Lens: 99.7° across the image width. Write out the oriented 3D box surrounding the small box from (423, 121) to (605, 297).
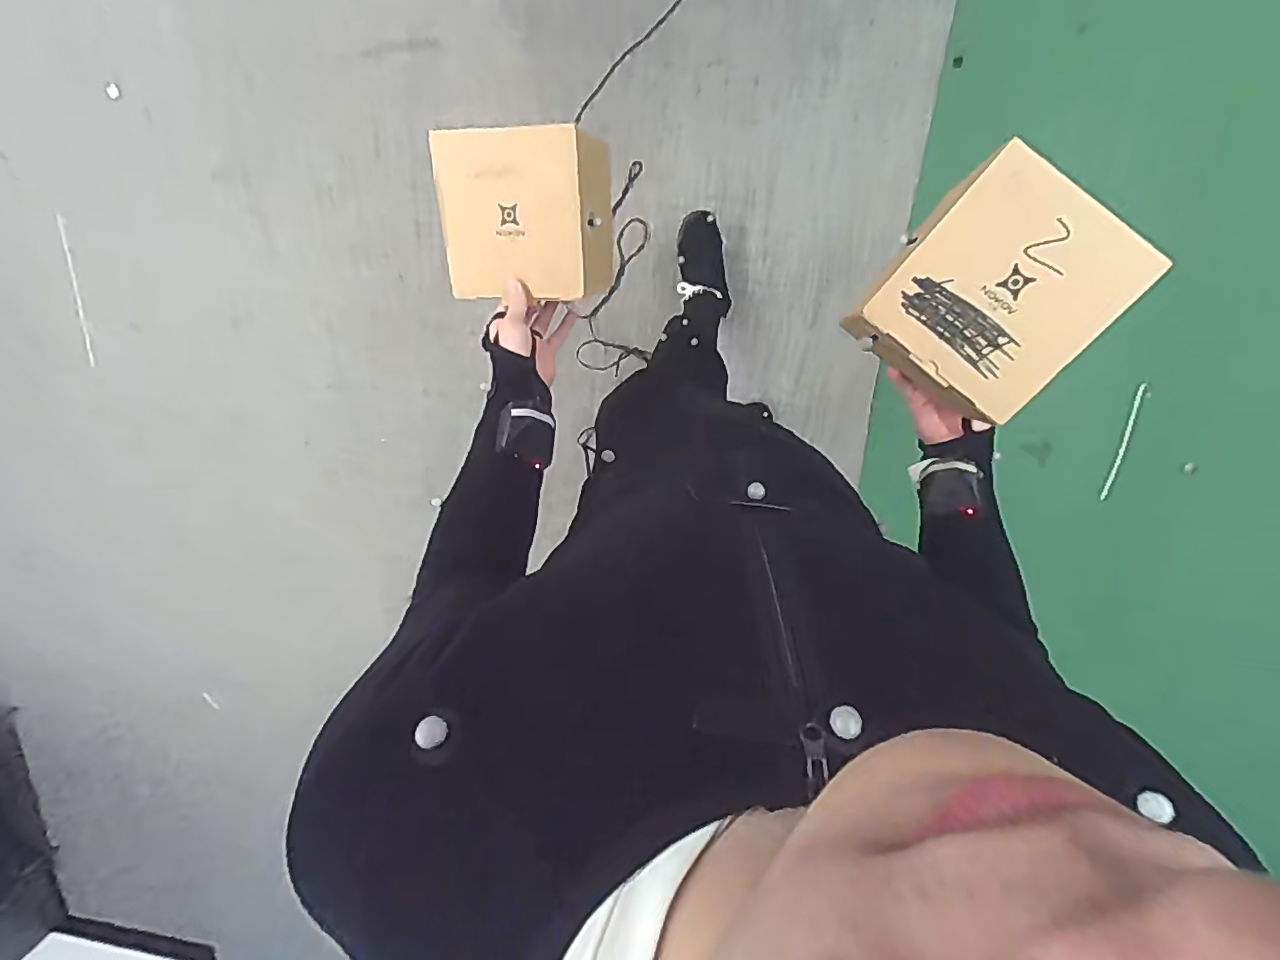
[{"bbox_3d":[-0.140,-0.332,0.674,0.168,0.176,0.179,3,116,8],"label":"small box"}]
